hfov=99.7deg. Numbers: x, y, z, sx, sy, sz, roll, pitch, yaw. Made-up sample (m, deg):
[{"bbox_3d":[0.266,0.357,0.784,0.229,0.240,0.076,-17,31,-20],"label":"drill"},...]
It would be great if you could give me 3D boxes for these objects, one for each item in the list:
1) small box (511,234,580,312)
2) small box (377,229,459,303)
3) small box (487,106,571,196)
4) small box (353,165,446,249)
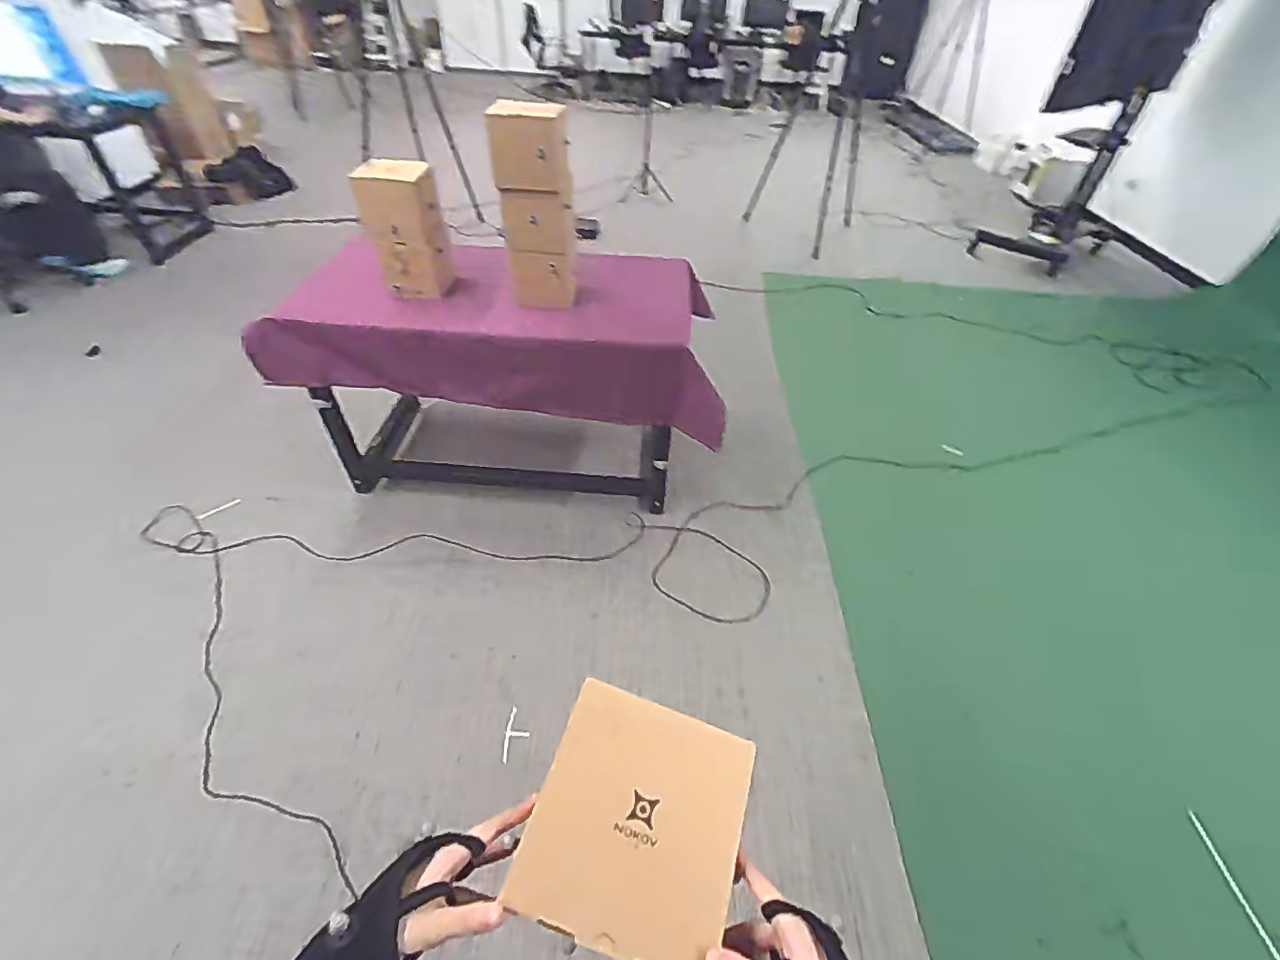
[{"bbox_3d":[-0.280,-0.631,1.654,0.179,0.176,0.168,5,44,2],"label":"small box"},{"bbox_3d":[-0.672,-0.660,1.663,0.168,0.176,0.179,5,43,1],"label":"small box"},{"bbox_3d":[-0.282,-0.859,1.417,0.179,0.176,0.168,5,43,2],"label":"small box"},{"bbox_3d":[-0.677,-0.778,1.548,0.179,0.176,0.168,6,44,1],"label":"small box"}]
